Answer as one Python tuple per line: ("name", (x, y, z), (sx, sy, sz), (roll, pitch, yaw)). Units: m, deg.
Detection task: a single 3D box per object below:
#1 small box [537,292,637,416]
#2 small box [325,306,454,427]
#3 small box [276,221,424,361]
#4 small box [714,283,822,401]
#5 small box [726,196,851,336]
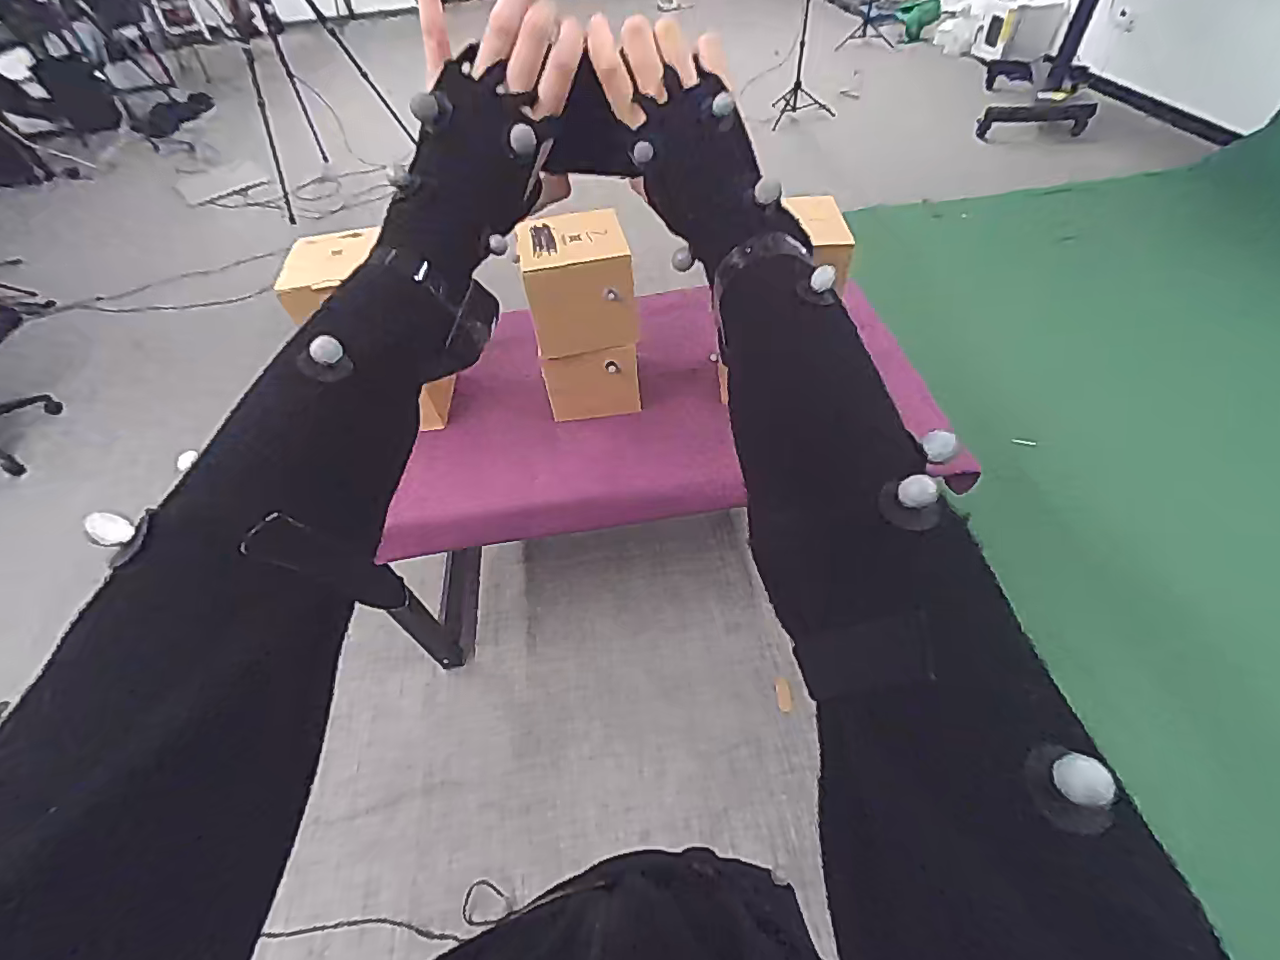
("small box", (-0.098, -0.247, 1.072), (0.179, 0.176, 0.168), (-6, 51, 0))
("small box", (-0.488, -0.220, 1.086), (0.168, 0.176, 0.179), (-6, 51, 0))
("small box", (-0.500, -0.329, 0.964), (0.168, 0.176, 0.179), (-9, 52, -3))
("small box", (0.241, -0.271, 1.065), (0.179, 0.176, 0.168), (-1, 51, 4))
("small box", (0.240, -0.362, 0.928), (0.179, 0.176, 0.168), (-1, 51, 3))
